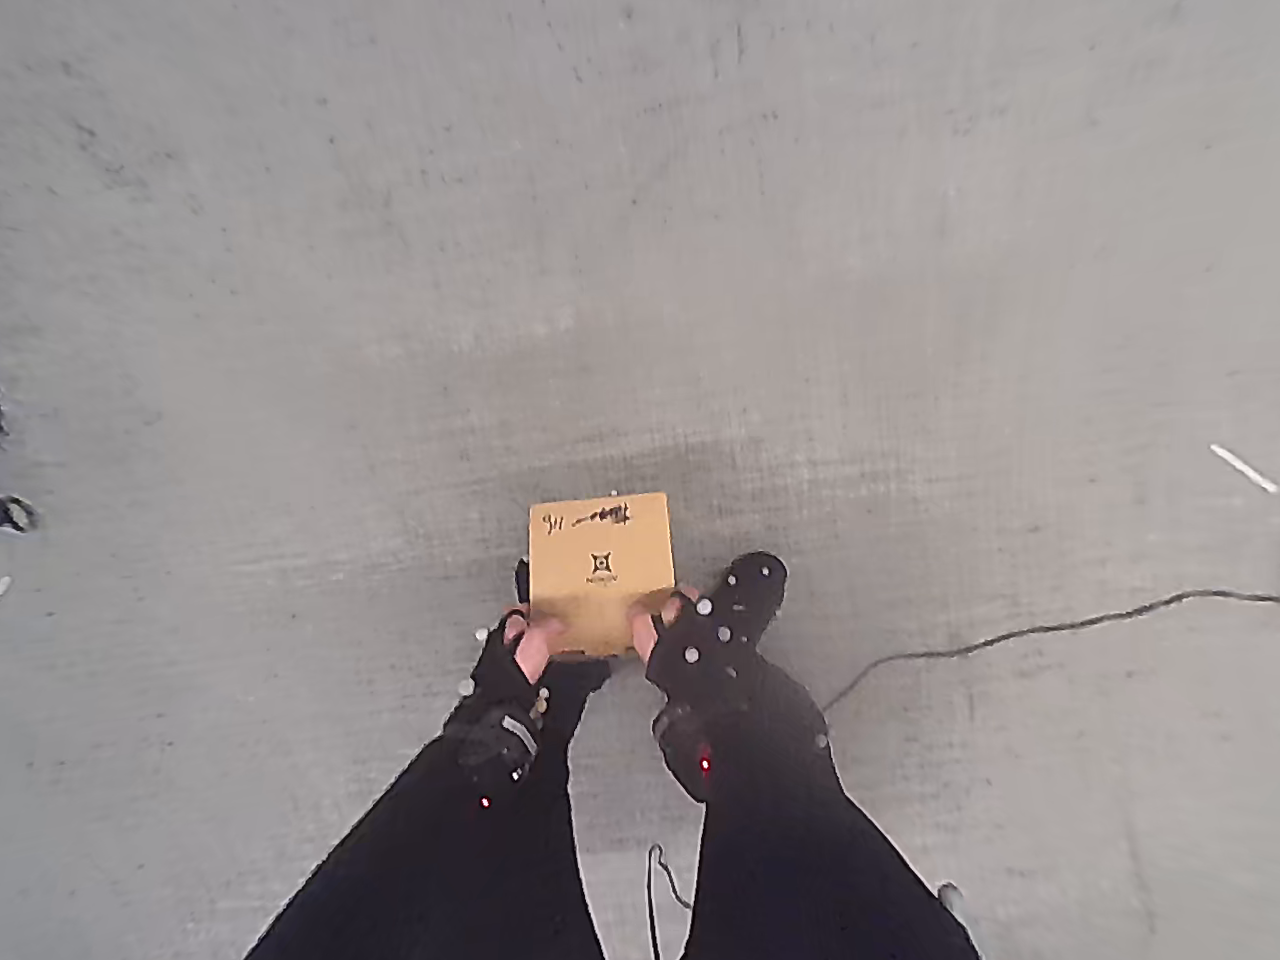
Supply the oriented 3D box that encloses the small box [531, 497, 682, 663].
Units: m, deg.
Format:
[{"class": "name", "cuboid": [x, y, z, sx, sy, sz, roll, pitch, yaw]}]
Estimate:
[{"class": "small box", "cuboid": [-0.036, 0.136, 0.686, 0.168, 0.176, 0.179, -6, 69, 2]}]
